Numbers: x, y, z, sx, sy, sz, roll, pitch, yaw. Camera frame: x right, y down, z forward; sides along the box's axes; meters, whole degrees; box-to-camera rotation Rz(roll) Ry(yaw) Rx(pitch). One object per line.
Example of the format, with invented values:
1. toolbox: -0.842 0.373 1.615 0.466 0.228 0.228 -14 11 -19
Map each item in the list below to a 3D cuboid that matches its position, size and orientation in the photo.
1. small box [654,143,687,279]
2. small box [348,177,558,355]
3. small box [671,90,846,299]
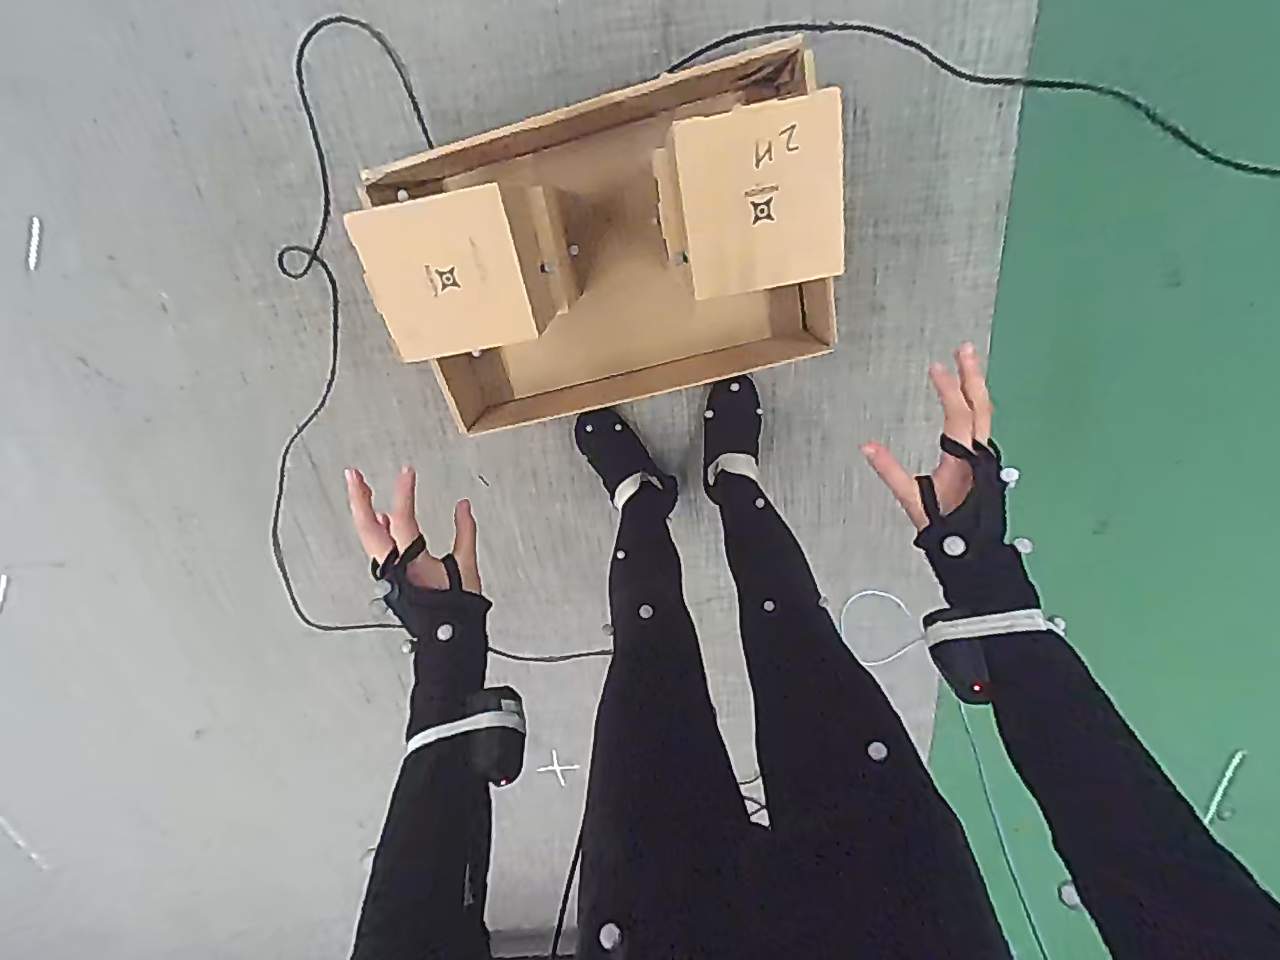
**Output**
1. small box: 0.118 -0.395 0.783 0.179 0.176 0.168 -8 115 5
2. small box: -0.212 -0.264 0.669 0.179 0.176 0.168 -8 117 4
3. small box: 0.130 -0.324 0.634 0.168 0.176 0.179 -9 115 4
